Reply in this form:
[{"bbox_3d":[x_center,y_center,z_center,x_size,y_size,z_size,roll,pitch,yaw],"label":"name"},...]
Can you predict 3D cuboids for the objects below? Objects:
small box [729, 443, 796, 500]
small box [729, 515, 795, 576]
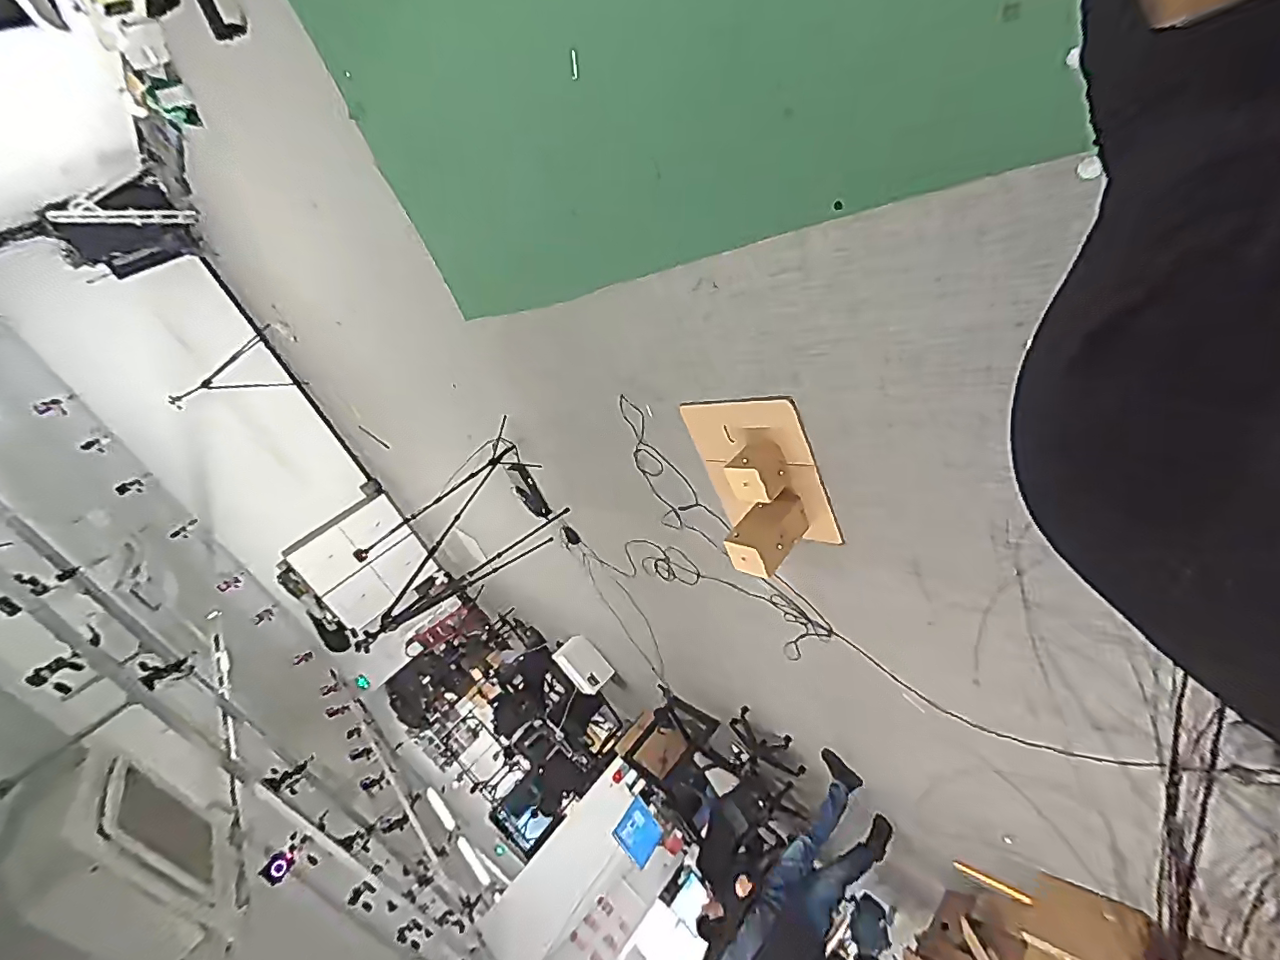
[{"bbox_3d":[0.500,-0.037,2.191,0.179,0.176,0.168,3,127,52],"label":"small box"},{"bbox_3d":[0.500,0.260,2.204,0.179,0.176,0.168,9,134,49],"label":"small box"}]
